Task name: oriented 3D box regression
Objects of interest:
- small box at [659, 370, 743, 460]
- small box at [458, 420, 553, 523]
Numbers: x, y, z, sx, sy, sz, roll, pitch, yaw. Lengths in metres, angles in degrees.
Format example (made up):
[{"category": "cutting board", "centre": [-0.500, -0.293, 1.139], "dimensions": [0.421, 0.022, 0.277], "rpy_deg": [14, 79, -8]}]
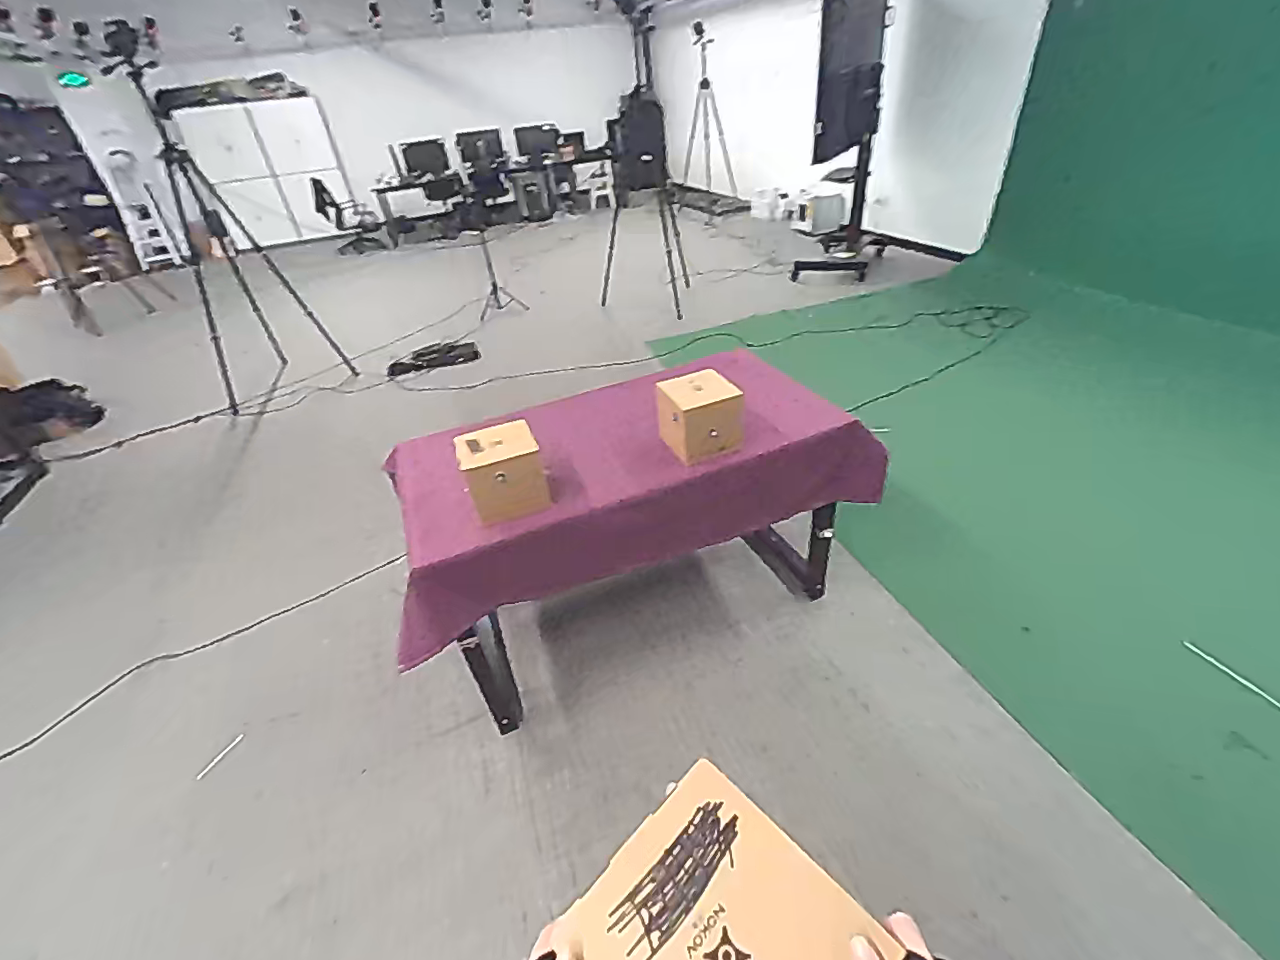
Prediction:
[{"category": "small box", "centre": [0.162, -0.168, 1.435], "dimensions": [0.168, 0.176, 0.179], "rpy_deg": [-17, 37, -14]}, {"category": "small box", "centre": [-0.325, -0.020, 1.313], "dimensions": [0.179, 0.176, 0.168], "rpy_deg": [-17, 37, -14]}]
